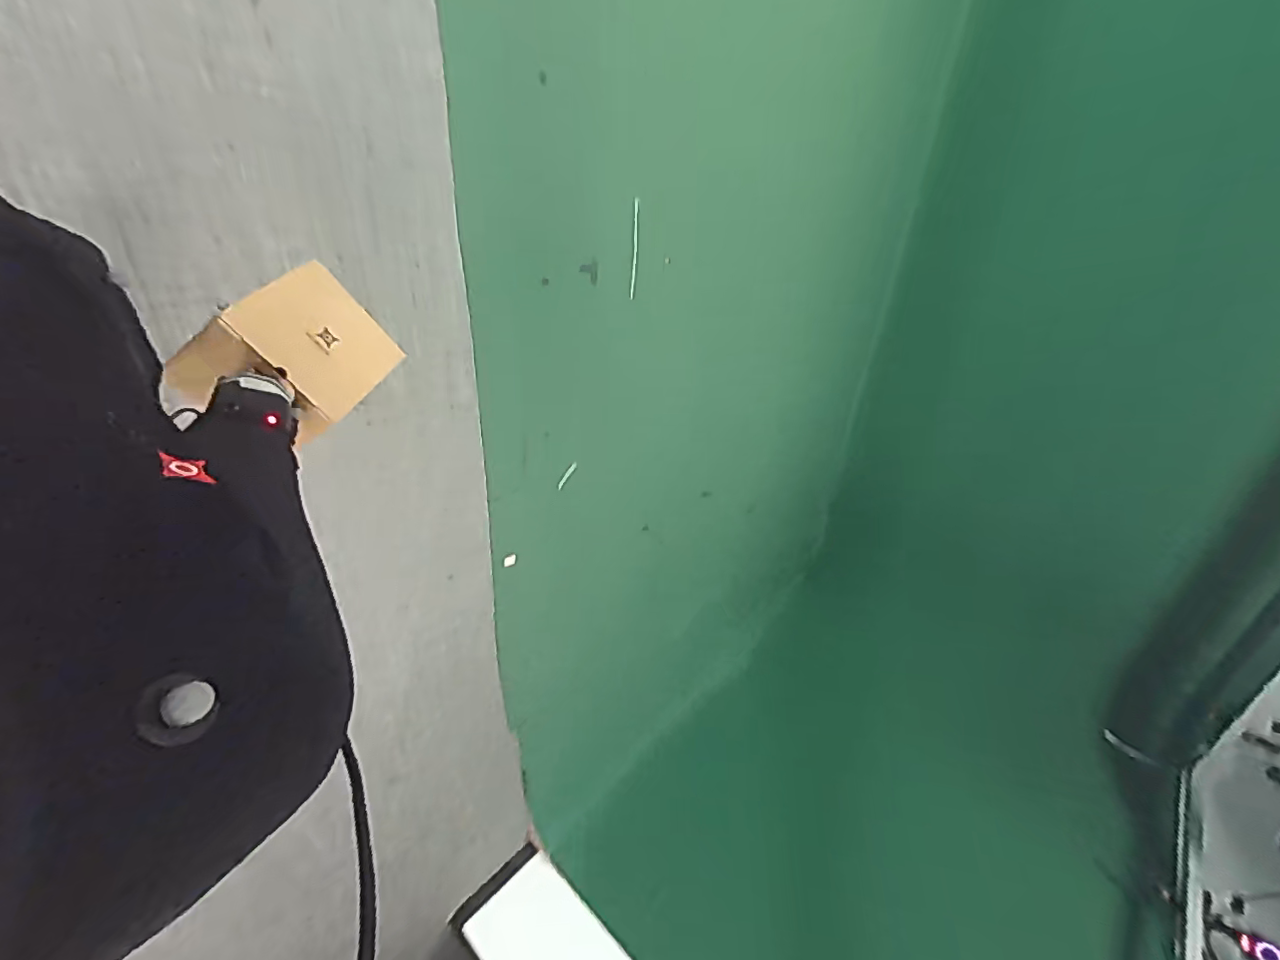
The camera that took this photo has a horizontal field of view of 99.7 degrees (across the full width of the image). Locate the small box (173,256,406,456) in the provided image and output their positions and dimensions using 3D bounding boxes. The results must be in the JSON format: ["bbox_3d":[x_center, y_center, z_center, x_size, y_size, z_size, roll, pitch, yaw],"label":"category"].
[{"bbox_3d":[-0.465,-0.162,0.728,0.168,0.176,0.179,51,35,-29],"label":"small box"}]
